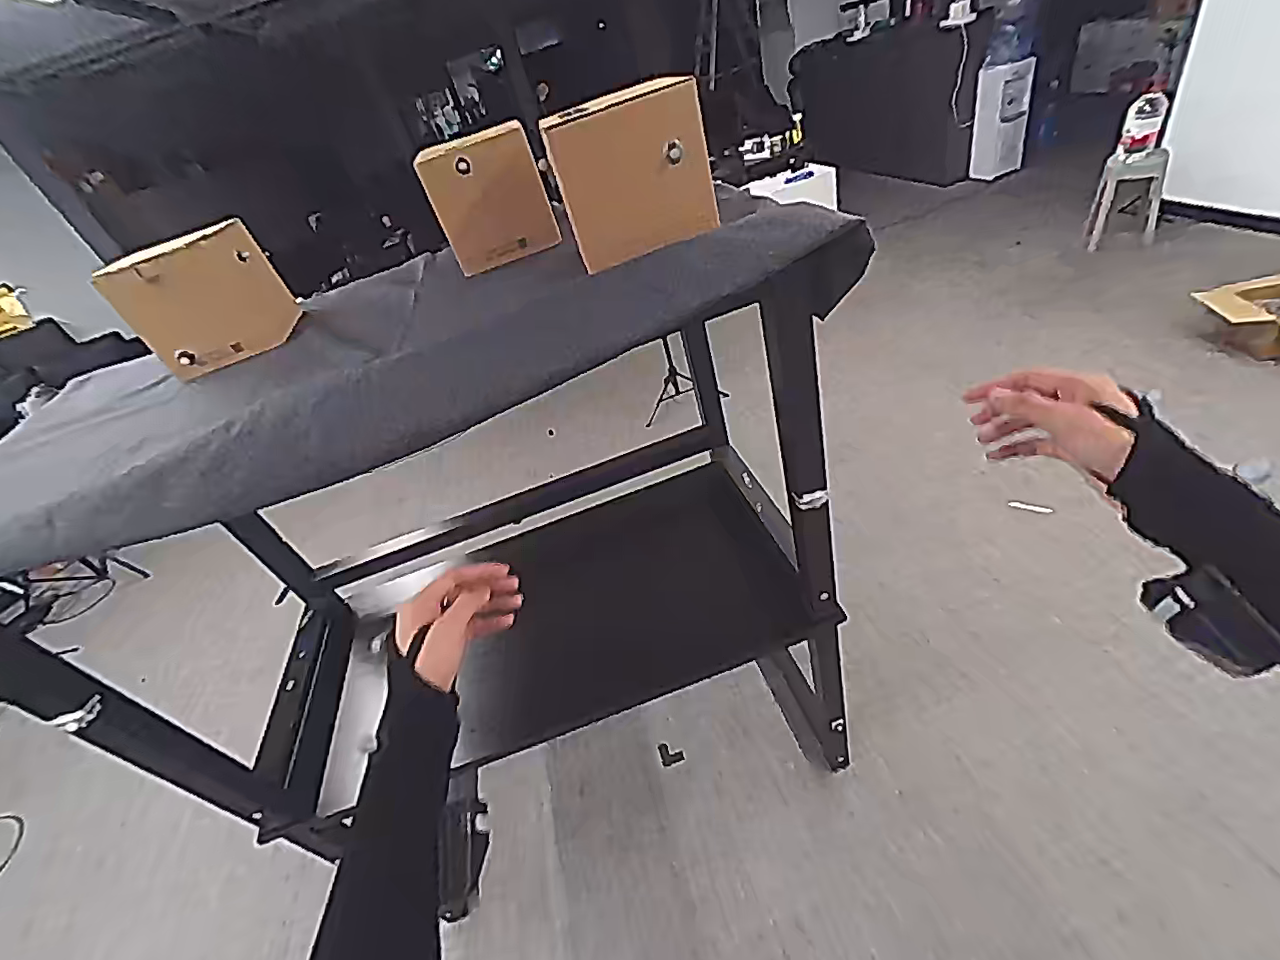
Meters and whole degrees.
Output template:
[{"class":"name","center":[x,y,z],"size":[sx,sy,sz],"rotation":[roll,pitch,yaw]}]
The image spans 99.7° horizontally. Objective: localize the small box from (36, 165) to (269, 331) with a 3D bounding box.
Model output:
[{"class":"small box","center":[-0.700,-0.344,0.809],"size":[0.168,0.176,0.179],"rotation":[-23,38,-5]}]

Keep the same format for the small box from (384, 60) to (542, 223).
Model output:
[{"class":"small box","center":[-0.261,-0.515,0.831],"size":[0.168,0.176,0.179],"rotation":[-21,38,-1]}]
